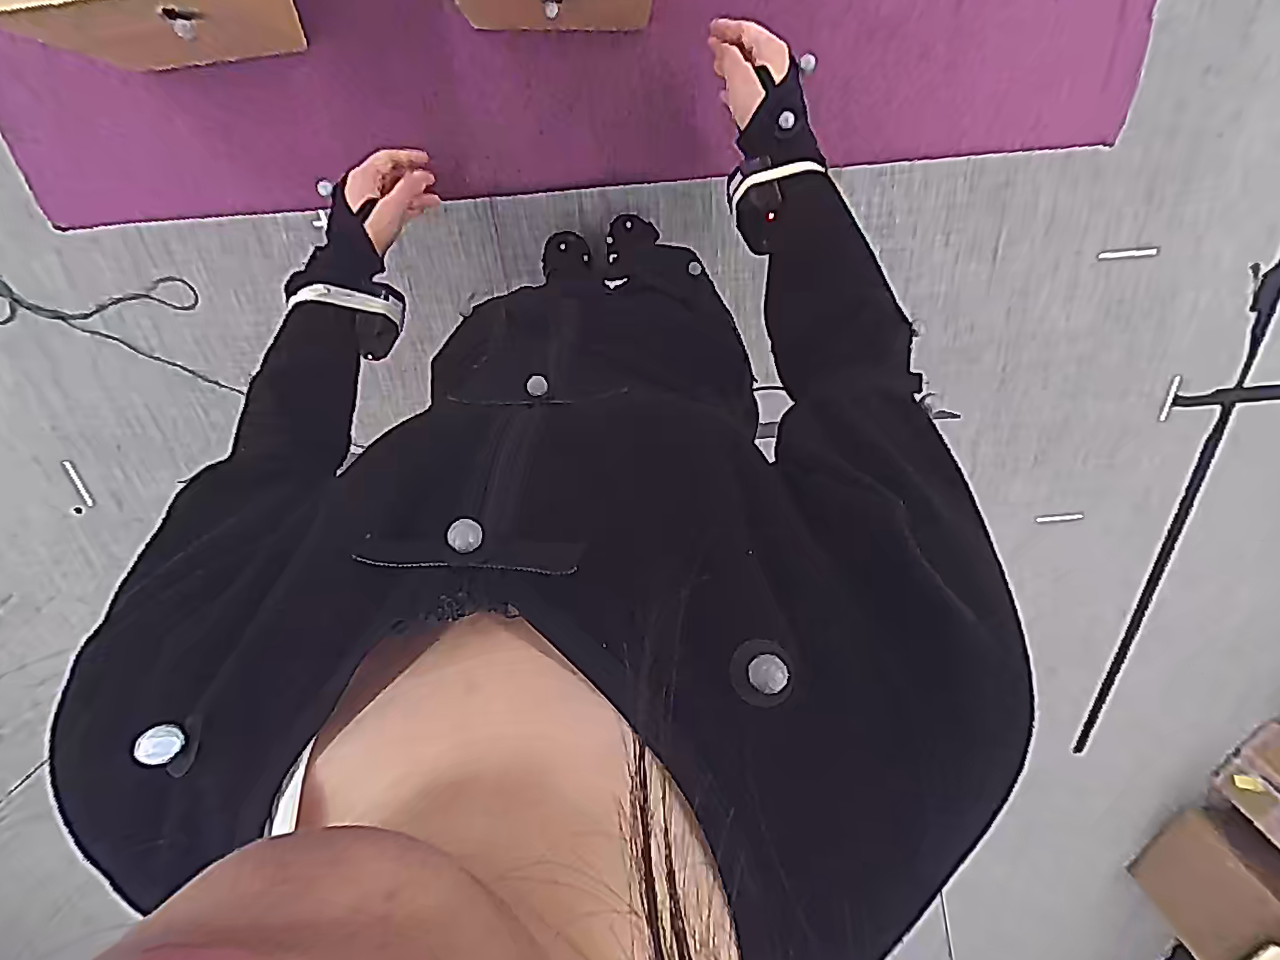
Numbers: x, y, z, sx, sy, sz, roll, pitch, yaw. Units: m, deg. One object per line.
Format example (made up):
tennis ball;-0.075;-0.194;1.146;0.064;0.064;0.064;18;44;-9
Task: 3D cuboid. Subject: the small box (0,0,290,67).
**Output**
small box;-0.419;-0.457;0.431;0.179;0.176;0.168;-8;115;0
